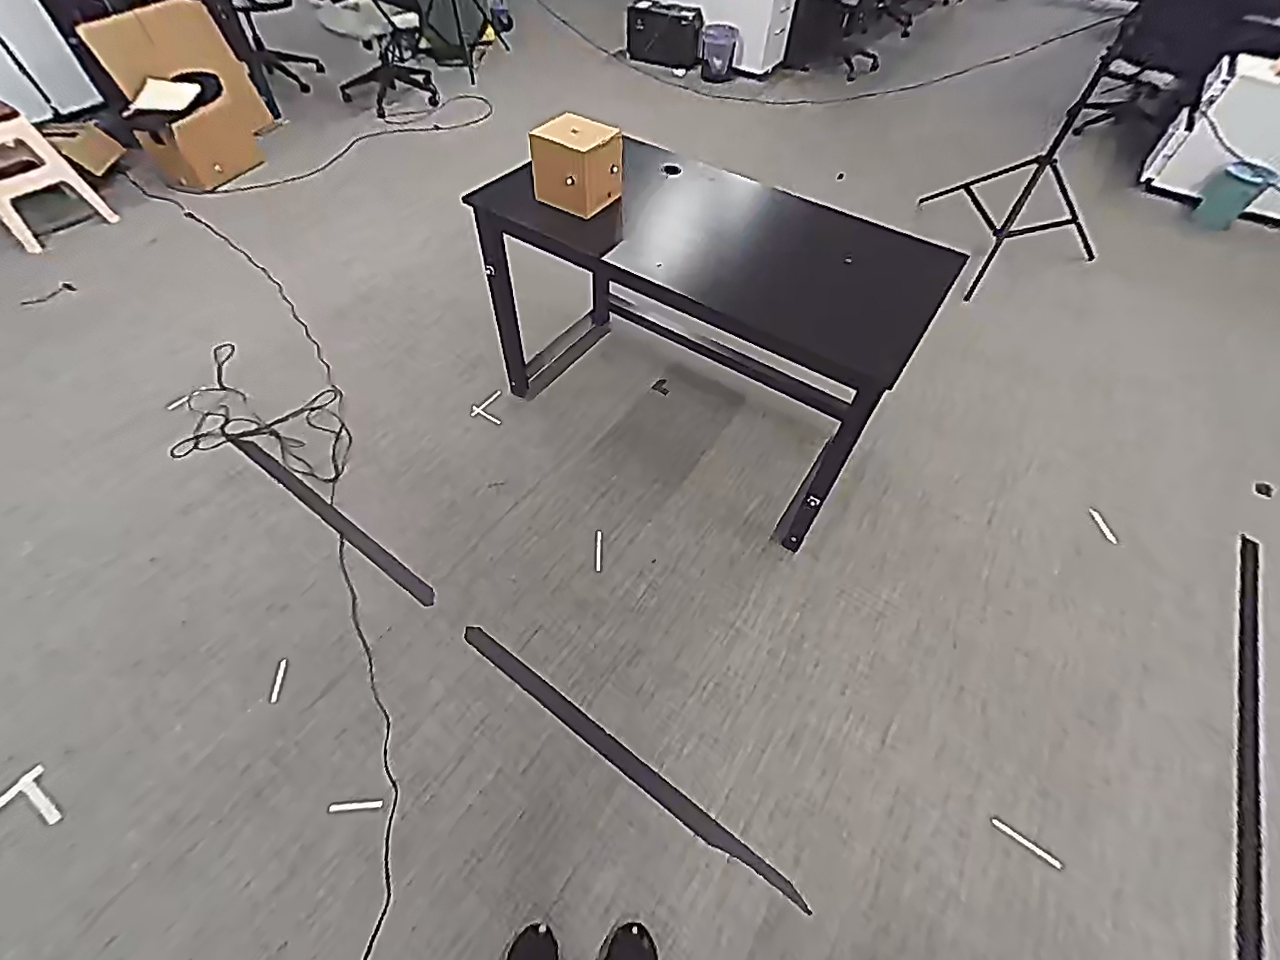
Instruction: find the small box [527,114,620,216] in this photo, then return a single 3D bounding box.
[{"bbox_3d":[-0.168,-0.820,1.418,0.179,0.176,0.168,28,56,17],"label":"small box"}]
